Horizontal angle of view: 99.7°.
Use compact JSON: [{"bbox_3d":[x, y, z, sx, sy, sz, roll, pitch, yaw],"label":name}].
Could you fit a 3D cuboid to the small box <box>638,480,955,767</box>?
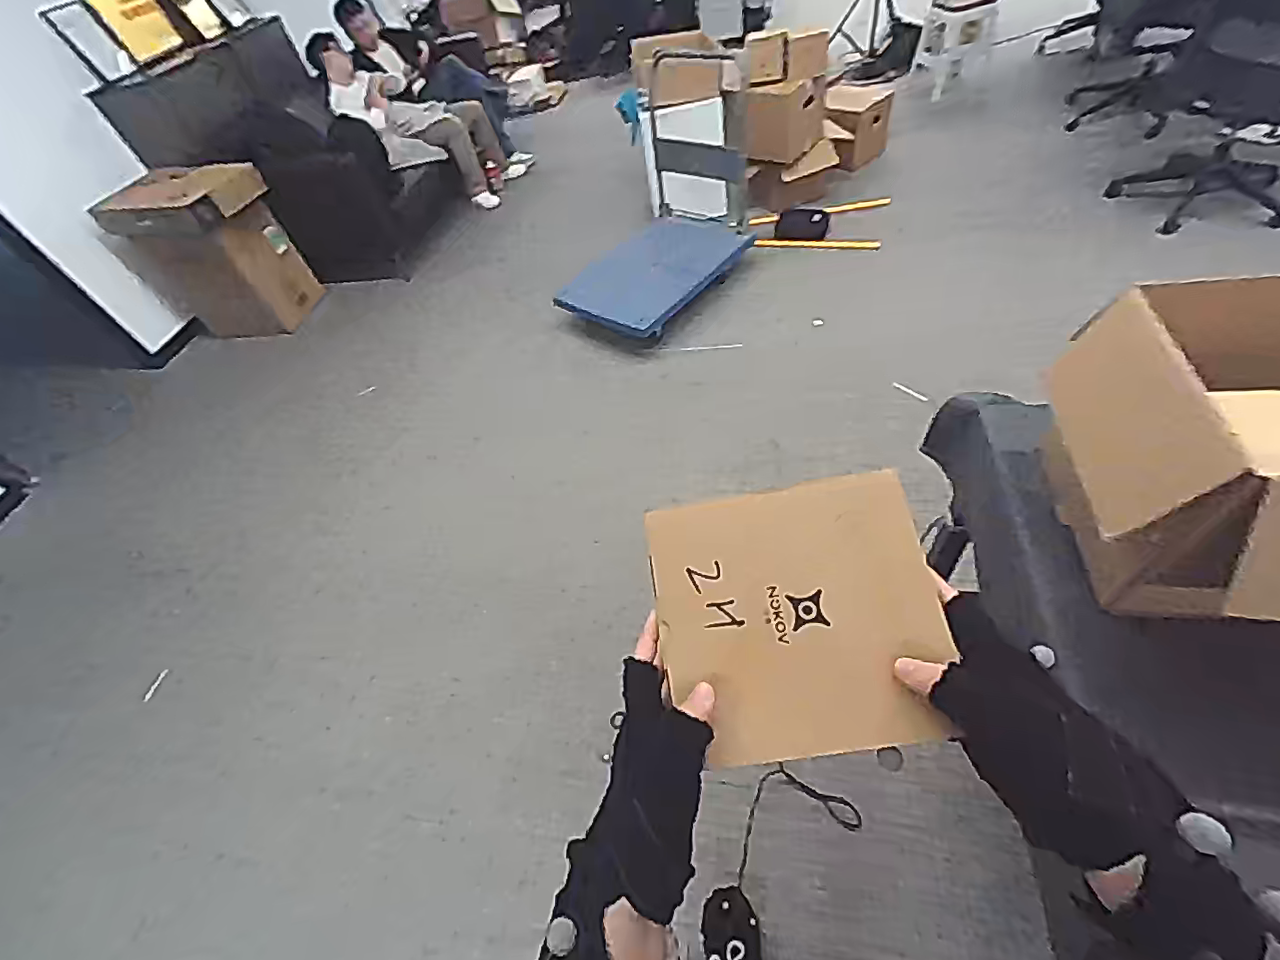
[{"bbox_3d":[0.103,0.116,0.426,0.179,0.176,0.168,-10,67,5],"label":"small box"}]
